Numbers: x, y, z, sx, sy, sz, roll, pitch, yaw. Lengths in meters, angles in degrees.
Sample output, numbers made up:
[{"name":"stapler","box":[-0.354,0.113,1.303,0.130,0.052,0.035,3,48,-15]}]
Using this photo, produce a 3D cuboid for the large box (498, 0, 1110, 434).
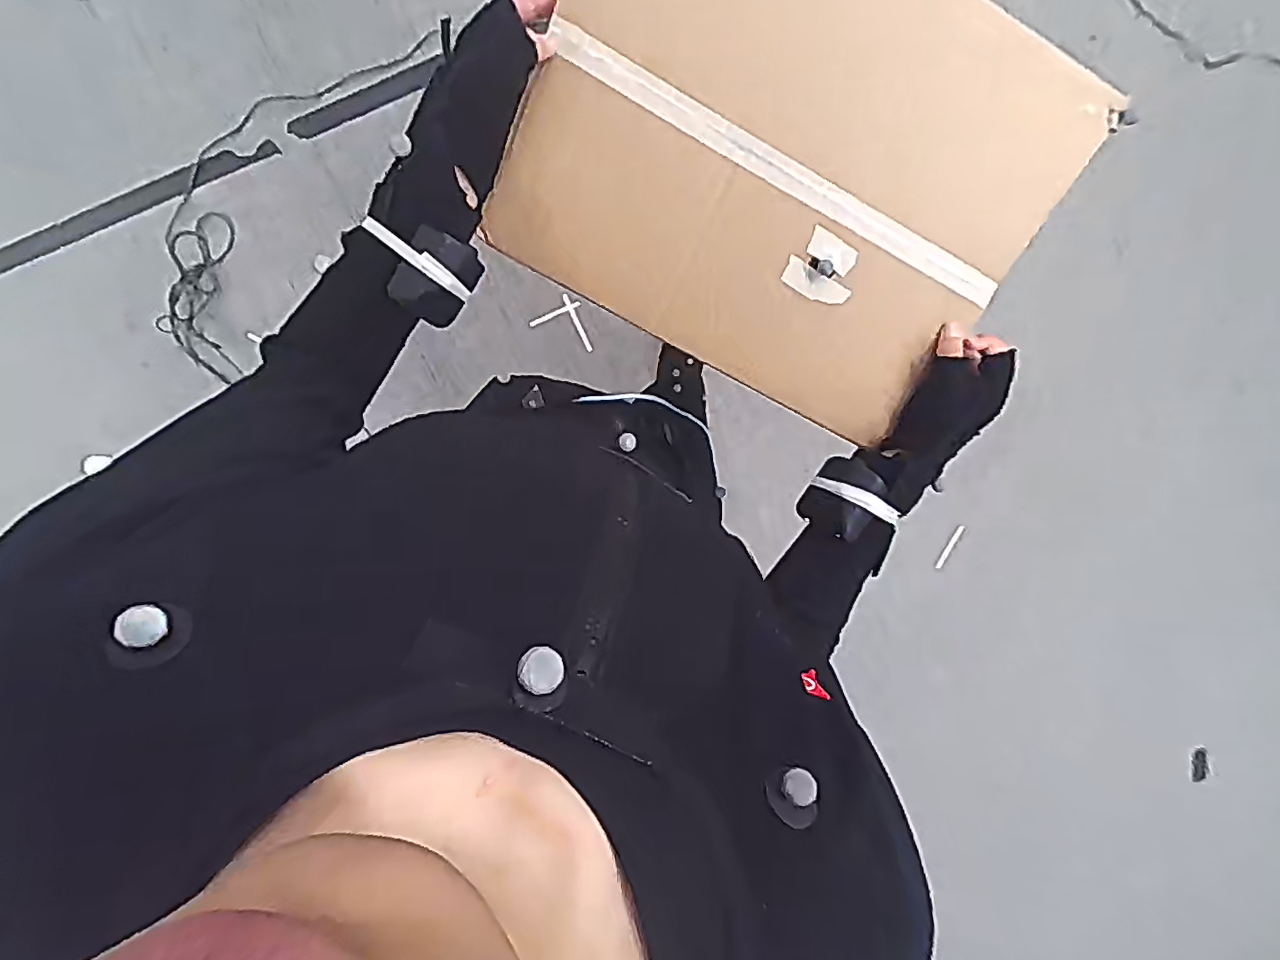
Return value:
[{"name":"large box","box":[0.122,-0.305,0.576,0.408,0.320,0.320,27,111,-9]}]
